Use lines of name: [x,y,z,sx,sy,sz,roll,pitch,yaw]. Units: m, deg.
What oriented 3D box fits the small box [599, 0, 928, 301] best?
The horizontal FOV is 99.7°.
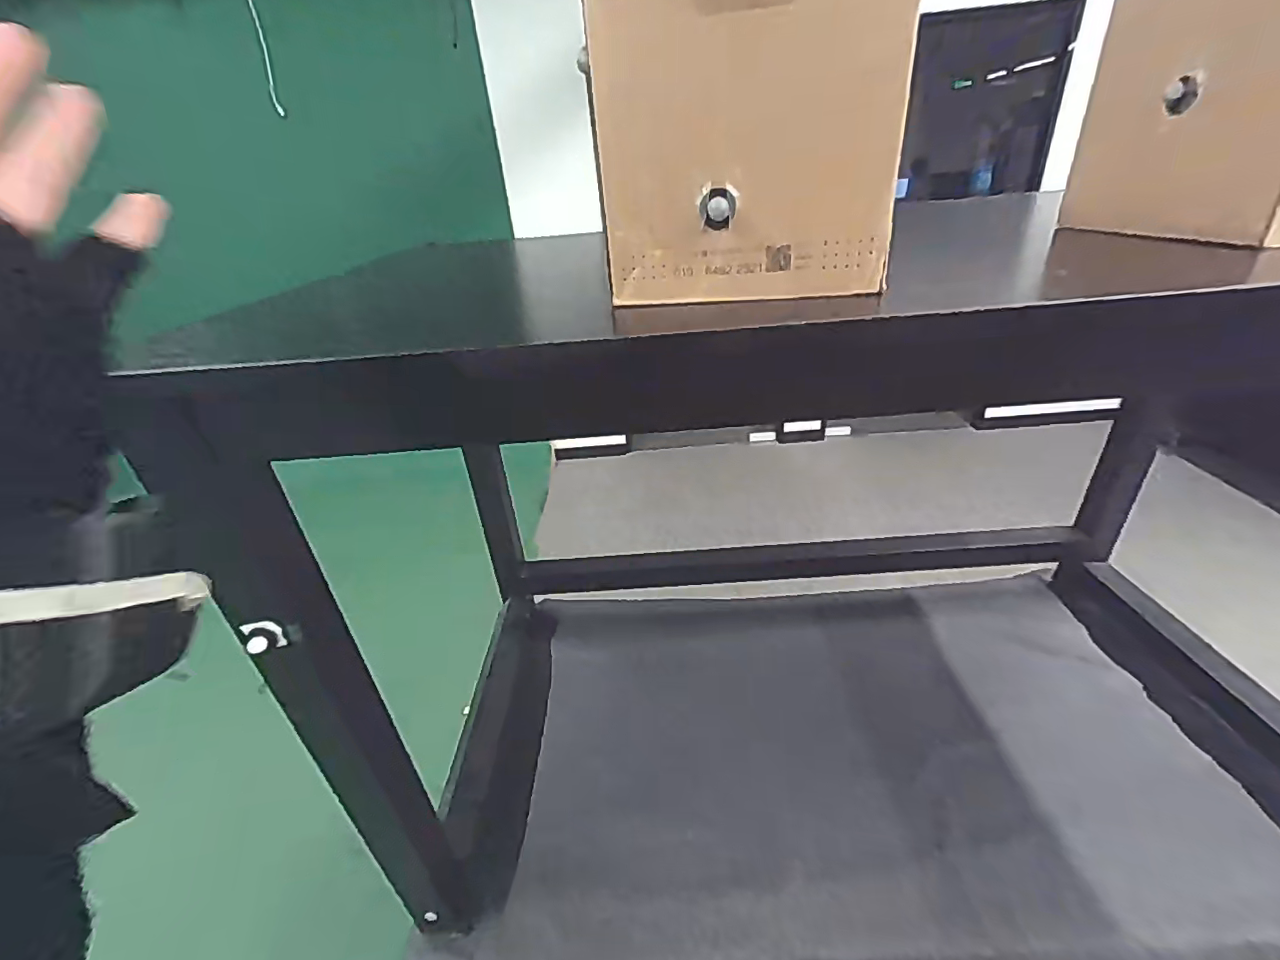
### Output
small box: [0.074,-0.225,0.370,0.168,0.176,0.179,1,30,10]
